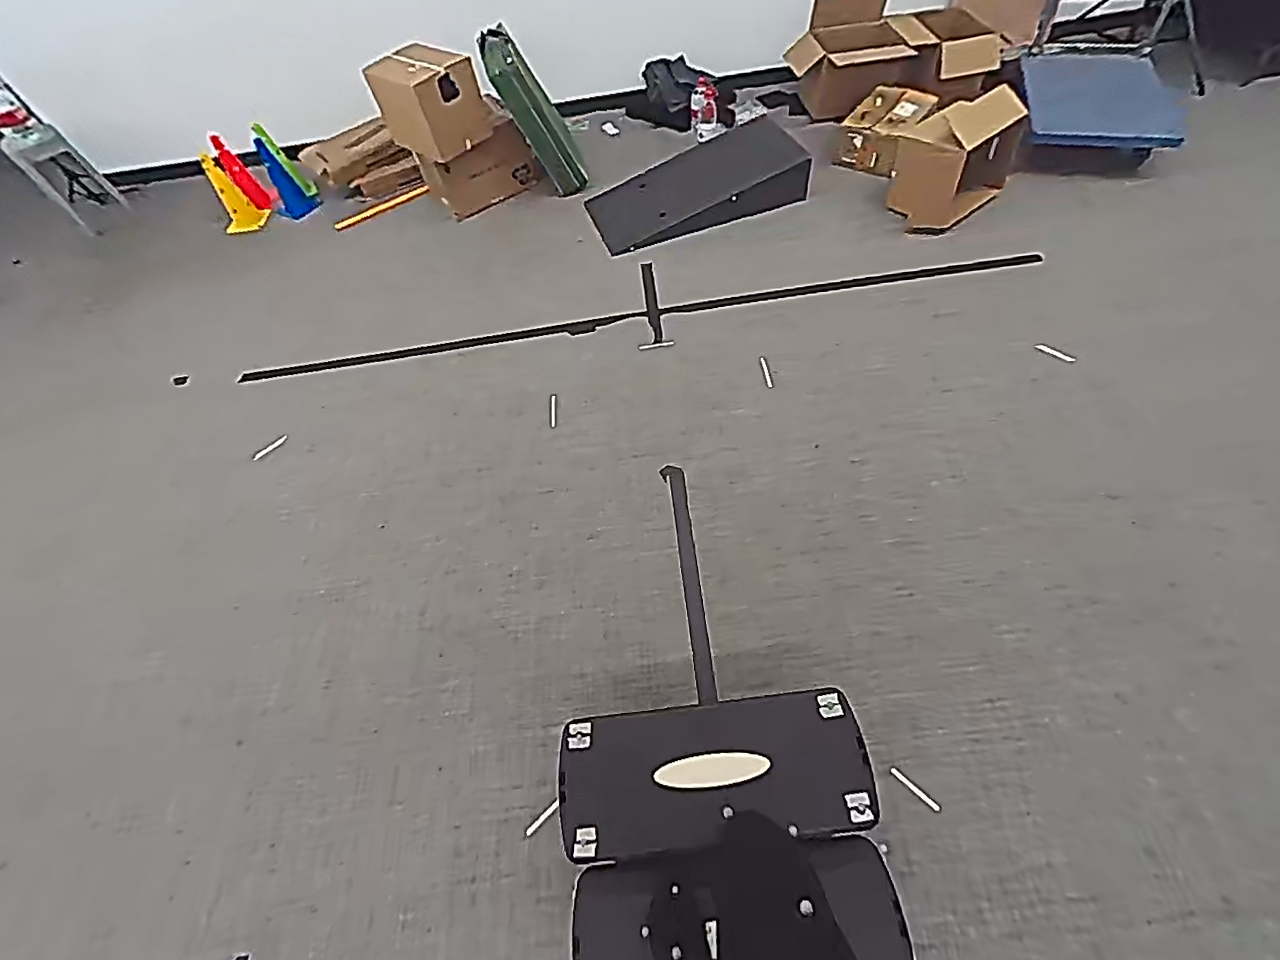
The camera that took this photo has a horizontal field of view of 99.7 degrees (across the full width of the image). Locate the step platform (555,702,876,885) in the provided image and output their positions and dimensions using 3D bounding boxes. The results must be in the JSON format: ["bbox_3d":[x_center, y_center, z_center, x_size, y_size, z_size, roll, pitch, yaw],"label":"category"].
[{"bbox_3d":[0.154,0.695,1.213,0.684,0.204,0.286,-8,57,0],"label":"step platform"}]
